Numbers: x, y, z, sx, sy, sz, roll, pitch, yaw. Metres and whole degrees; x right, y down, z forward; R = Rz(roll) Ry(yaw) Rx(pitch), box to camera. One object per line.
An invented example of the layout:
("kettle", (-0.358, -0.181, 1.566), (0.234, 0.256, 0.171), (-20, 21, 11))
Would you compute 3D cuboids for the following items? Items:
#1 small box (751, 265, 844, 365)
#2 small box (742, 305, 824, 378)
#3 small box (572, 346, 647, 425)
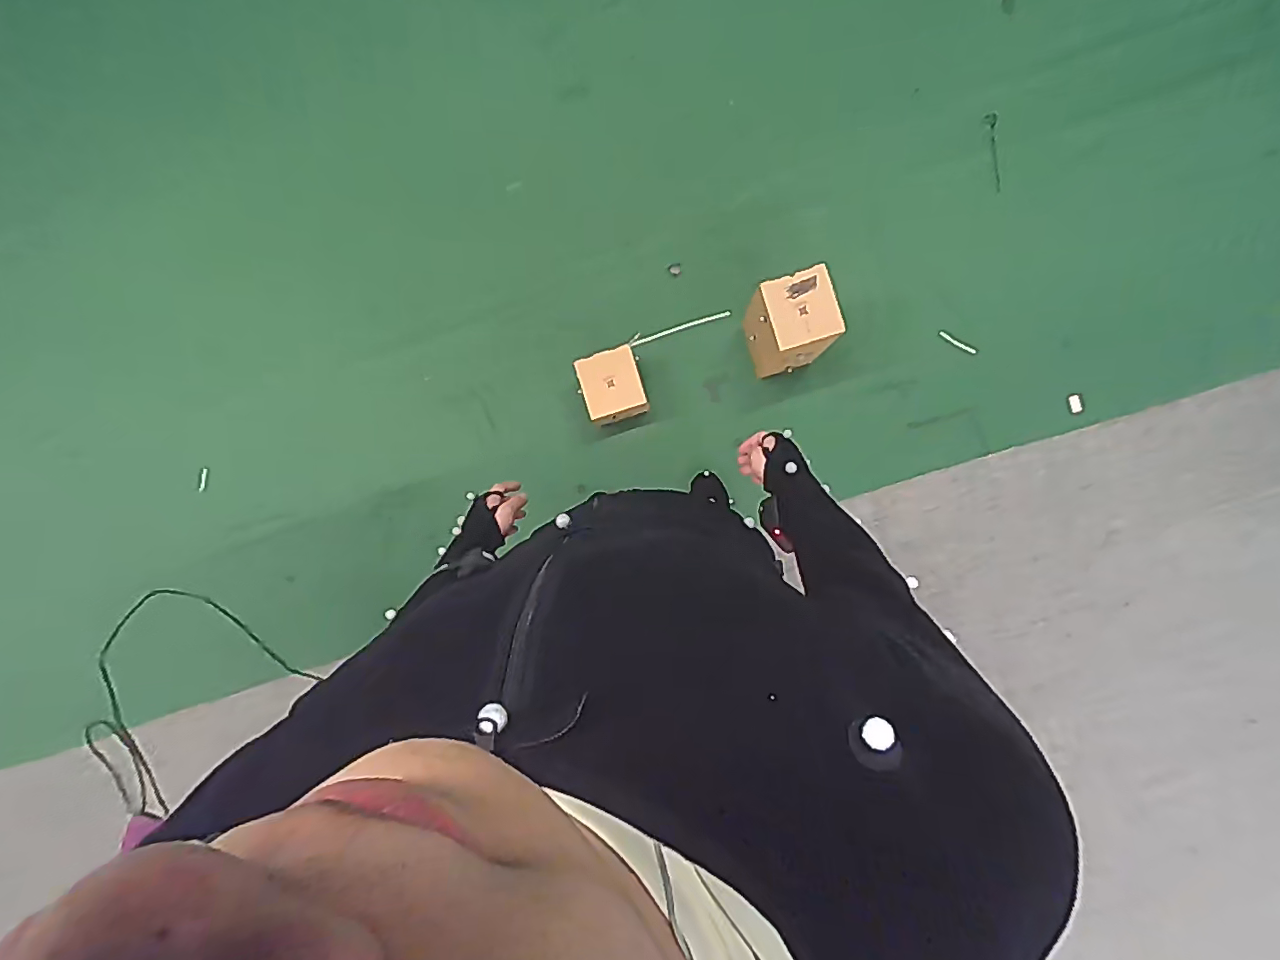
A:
("small box", (0.392, -0.413, 1.379), (0.168, 0.176, 0.179), (-17, 89, 3))
("small box", (0.399, -0.410, 1.543), (0.168, 0.176, 0.179), (-17, 89, 3))
("small box", (-0.081, -0.265, 1.572), (0.168, 0.176, 0.179), (-18, 88, 3))
